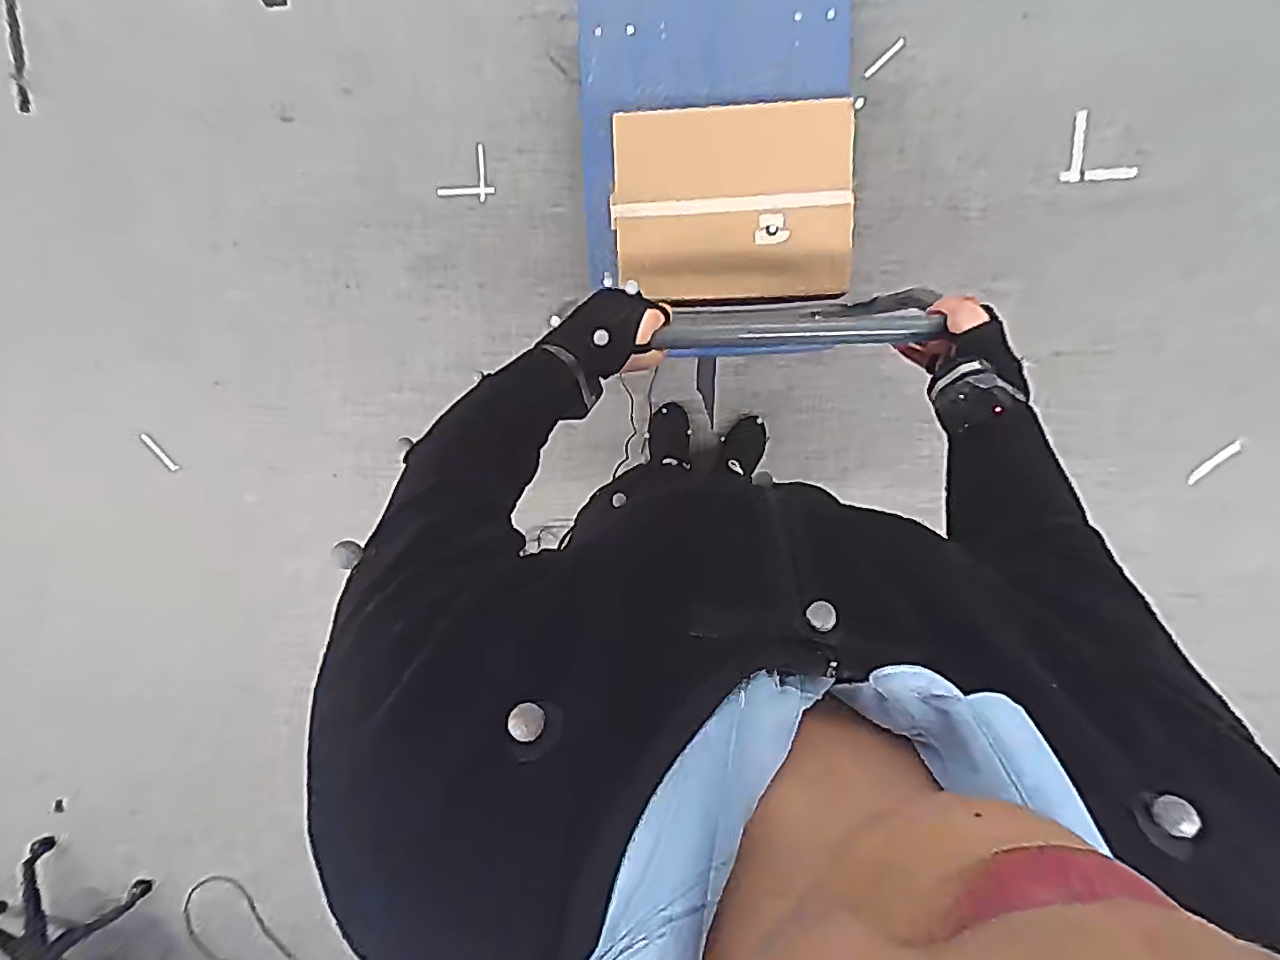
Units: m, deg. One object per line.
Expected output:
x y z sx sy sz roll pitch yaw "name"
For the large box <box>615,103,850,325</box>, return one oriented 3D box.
0.169 -0.498 1.087 0.408 0.320 0.320 -2 100 3 "large box"
